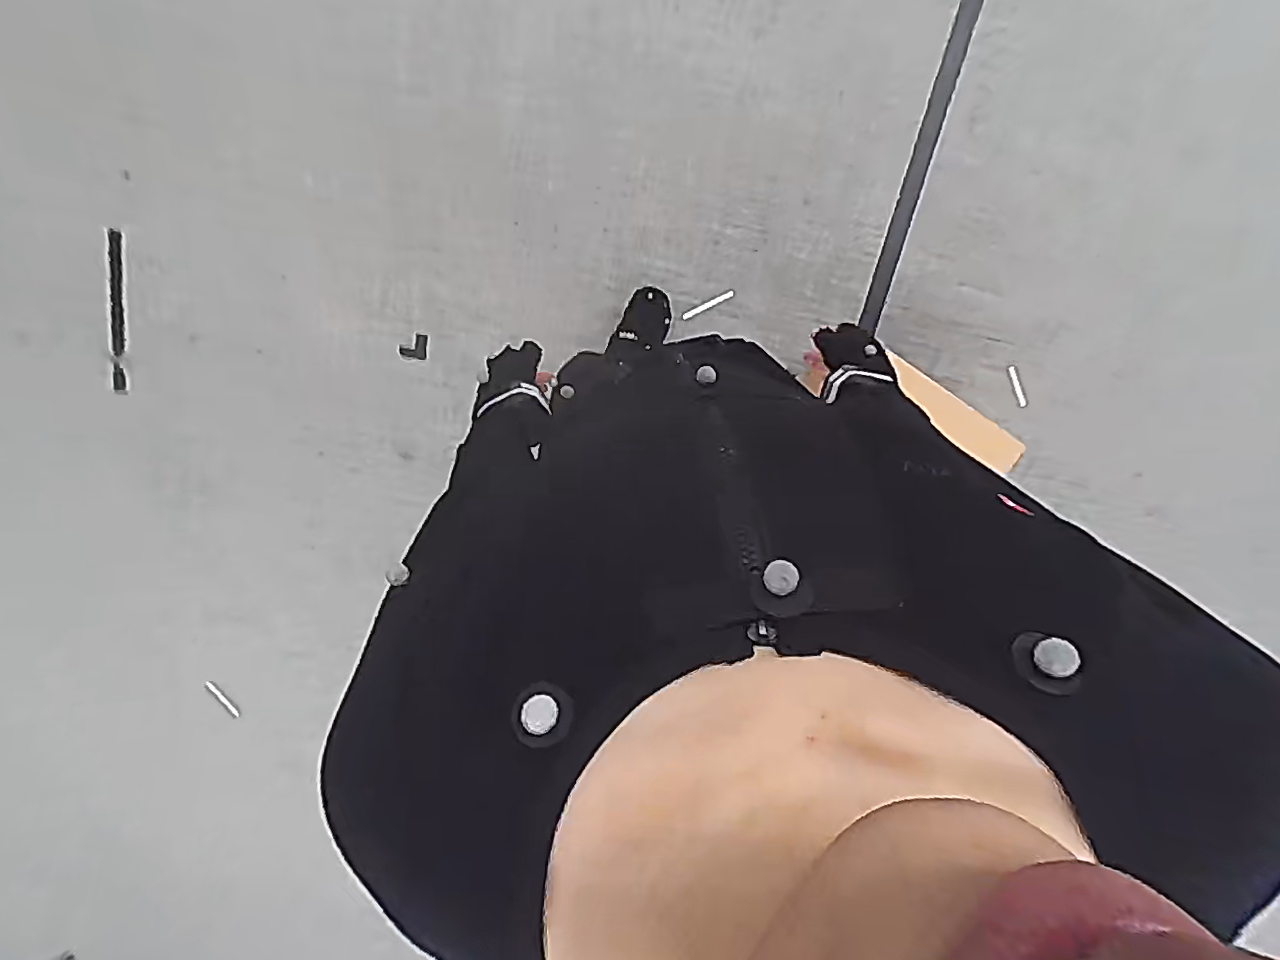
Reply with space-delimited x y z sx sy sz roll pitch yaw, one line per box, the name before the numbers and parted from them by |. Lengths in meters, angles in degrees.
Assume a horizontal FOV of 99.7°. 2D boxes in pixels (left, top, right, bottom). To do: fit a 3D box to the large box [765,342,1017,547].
large box | 0.587 -0.102 1.339 0.408 0.320 0.320 30 103 -9
